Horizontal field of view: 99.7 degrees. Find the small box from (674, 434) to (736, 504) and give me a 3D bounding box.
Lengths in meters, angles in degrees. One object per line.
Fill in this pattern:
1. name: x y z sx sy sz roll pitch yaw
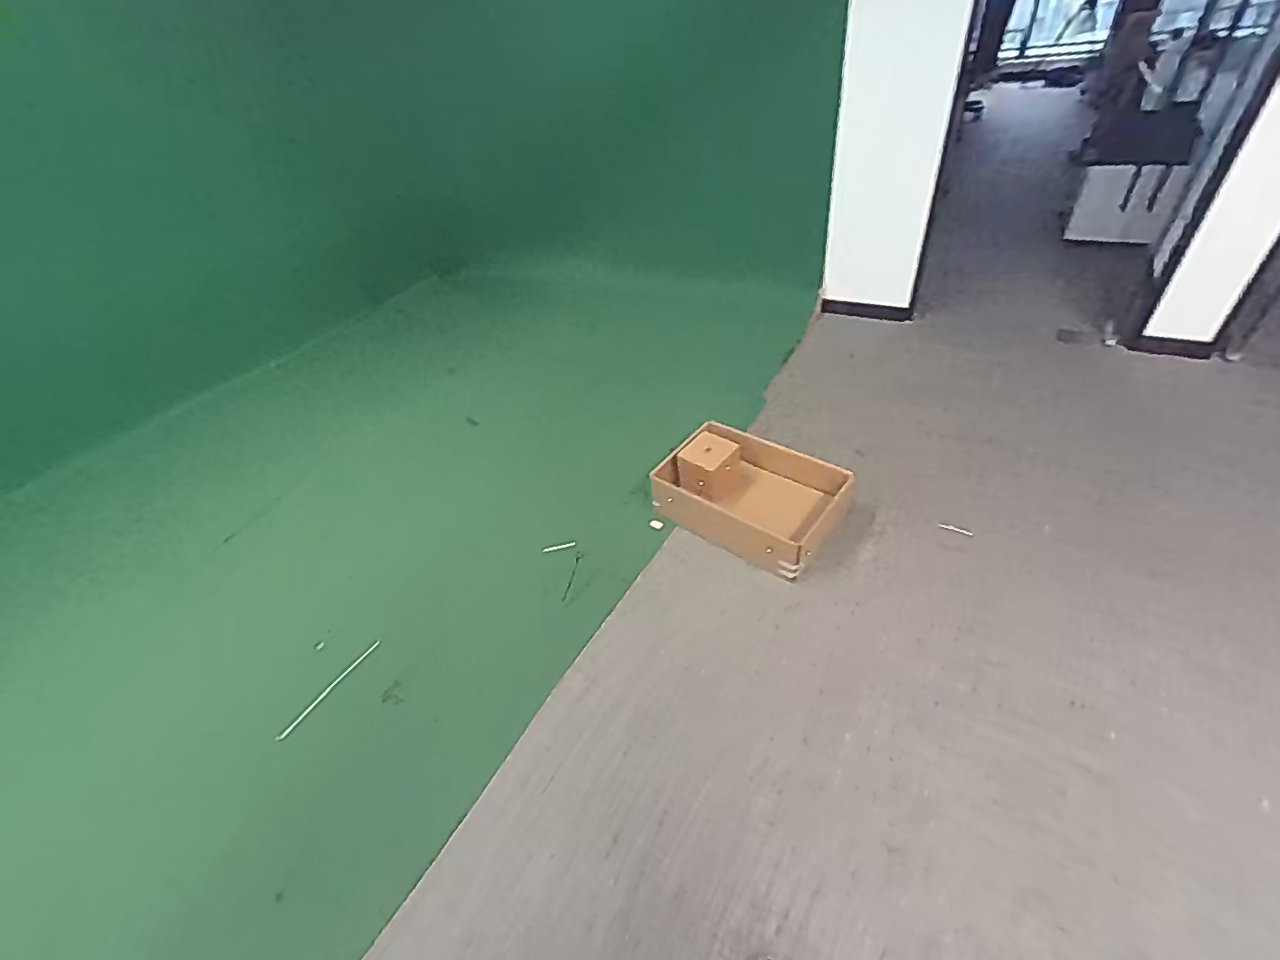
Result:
1. small box: 0.252 -0.040 2.054 0.168 0.176 0.179 28 54 33
